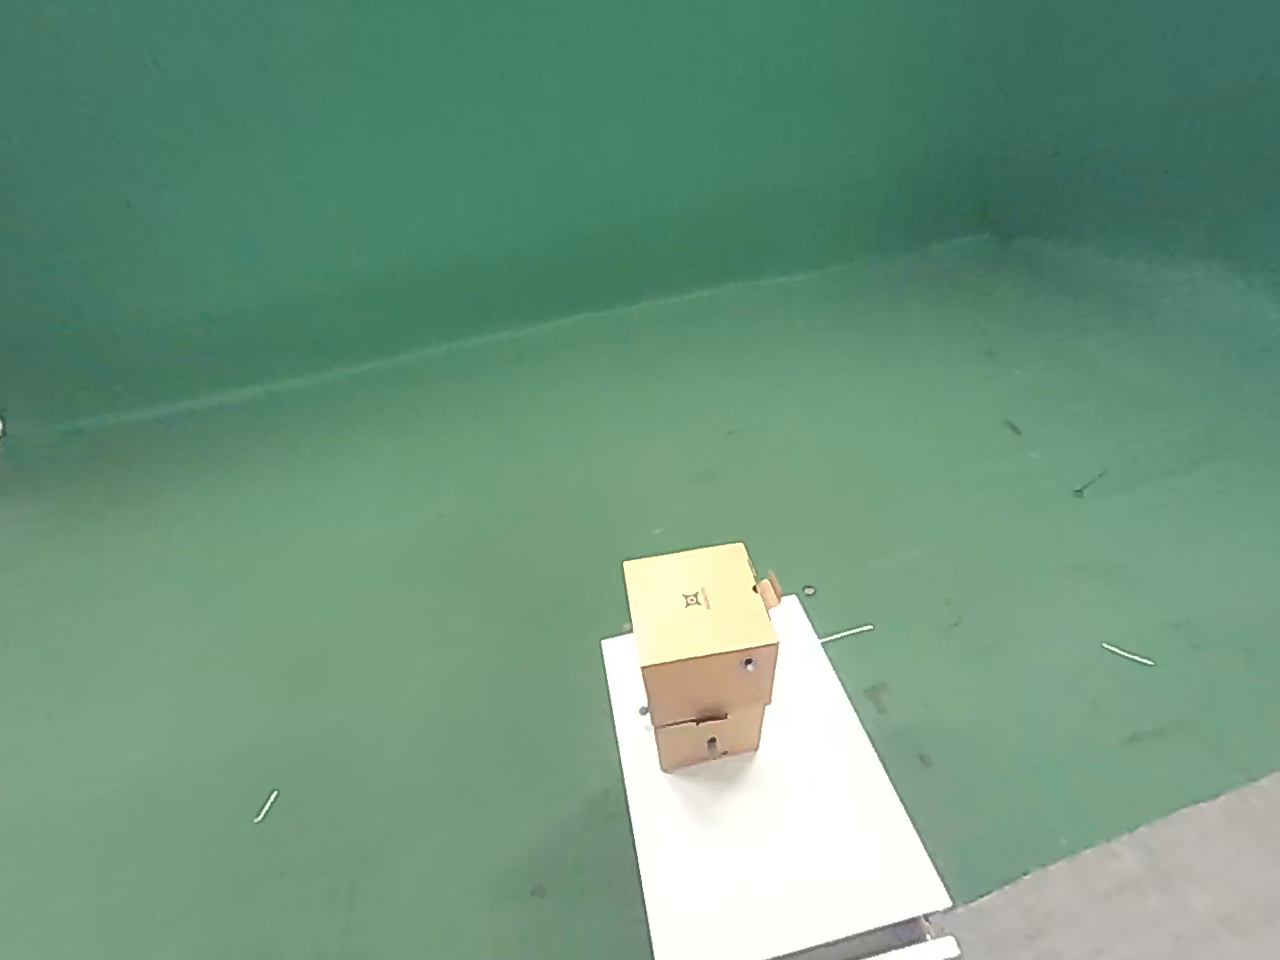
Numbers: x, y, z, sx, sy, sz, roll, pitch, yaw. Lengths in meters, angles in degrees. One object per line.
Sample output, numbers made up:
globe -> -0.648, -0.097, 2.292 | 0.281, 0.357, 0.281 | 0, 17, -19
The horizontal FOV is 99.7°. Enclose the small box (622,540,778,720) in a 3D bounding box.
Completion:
small box -> 0.078, 0.210, 0.751 | 0.179, 0.176, 0.168 | -9, 42, -3

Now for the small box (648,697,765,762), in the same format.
small box -> 0.090, 0.328, 0.863 | 0.168, 0.176, 0.179 | -11, 43, -5
